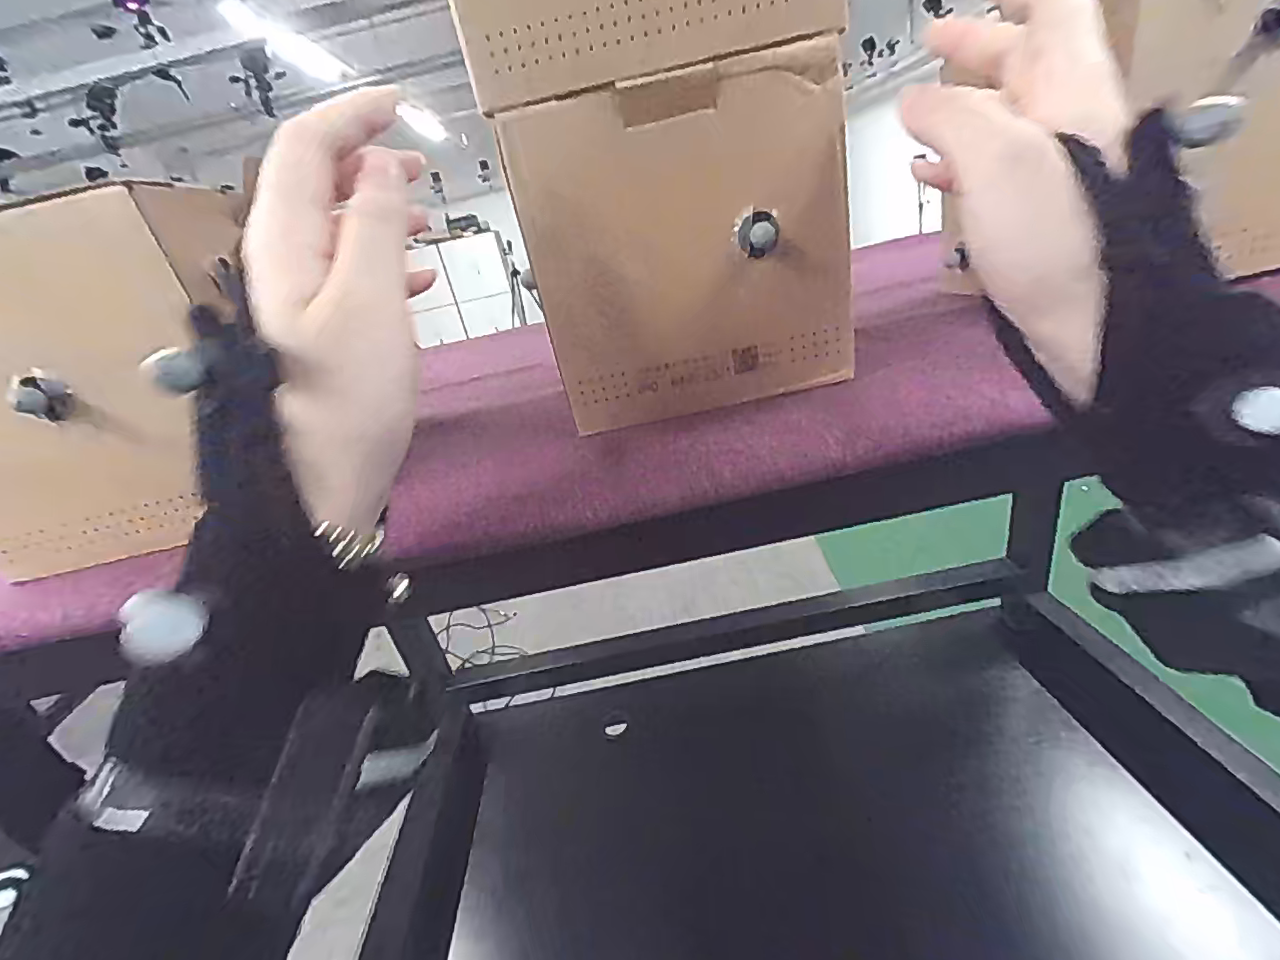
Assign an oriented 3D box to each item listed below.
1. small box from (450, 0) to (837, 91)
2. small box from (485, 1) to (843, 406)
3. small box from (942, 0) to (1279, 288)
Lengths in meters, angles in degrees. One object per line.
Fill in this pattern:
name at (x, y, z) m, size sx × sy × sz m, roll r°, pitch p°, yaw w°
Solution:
small box at (-0.012, -0.301, 0.279) m, size 0.179 × 0.176 × 0.168 m, roll -10°, pitch 26°, yaw 3°
small box at (0.021, -0.155, 0.349) m, size 0.168 × 0.176 × 0.179 m, roll -11°, pitch 25°, yaw 3°
small box at (0.325, -0.229, 0.346) m, size 0.179 × 0.176 × 0.168 m, roll -13°, pitch 23°, yaw 1°
